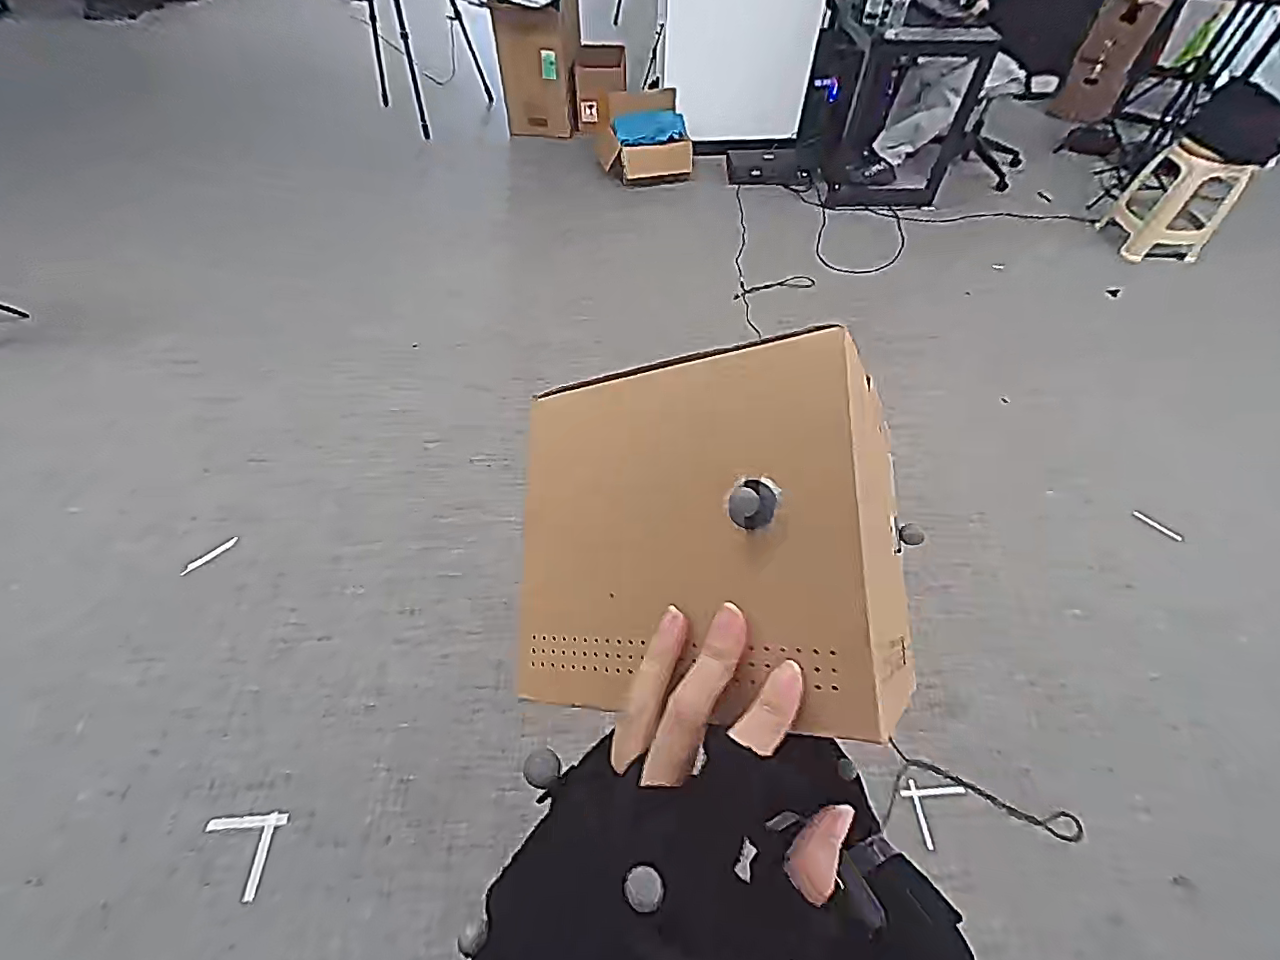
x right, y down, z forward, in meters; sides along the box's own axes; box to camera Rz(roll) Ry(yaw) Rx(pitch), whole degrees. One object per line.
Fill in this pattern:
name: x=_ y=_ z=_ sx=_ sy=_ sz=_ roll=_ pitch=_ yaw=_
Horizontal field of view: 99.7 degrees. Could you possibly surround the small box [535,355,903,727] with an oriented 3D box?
small box: x=0.055 y=0.047 z=0.336 sx=0.179 sy=0.168 sz=0.176 roll=-8 pitch=73 yaw=31
